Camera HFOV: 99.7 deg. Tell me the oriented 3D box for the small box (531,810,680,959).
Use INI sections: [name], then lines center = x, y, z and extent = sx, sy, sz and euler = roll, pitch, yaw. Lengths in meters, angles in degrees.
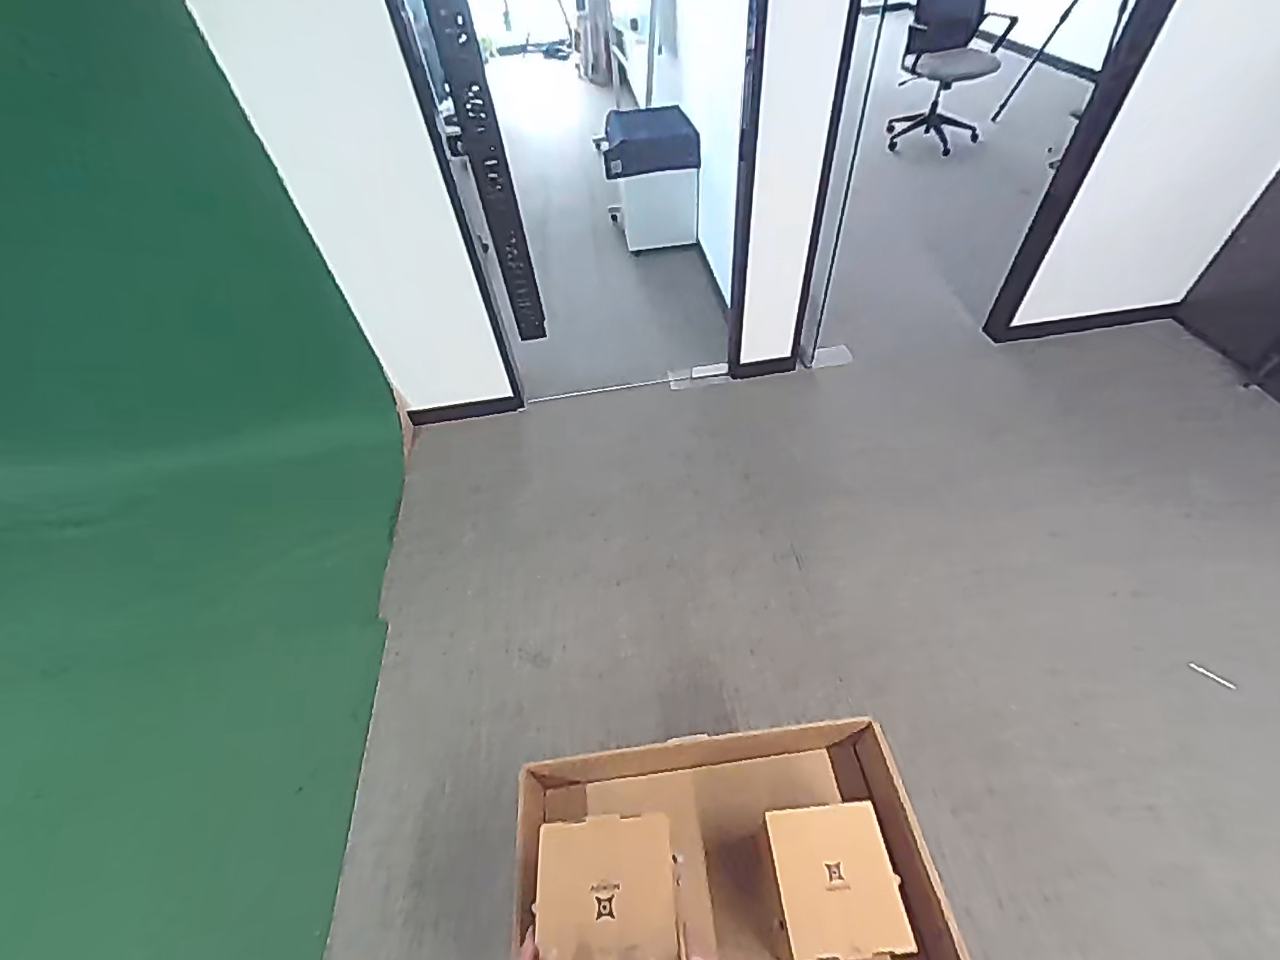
[small box]
center = -0.037, 0.546, 0.691
extent = 0.168, 0.176, 0.179
euler = -6, 48, 1
